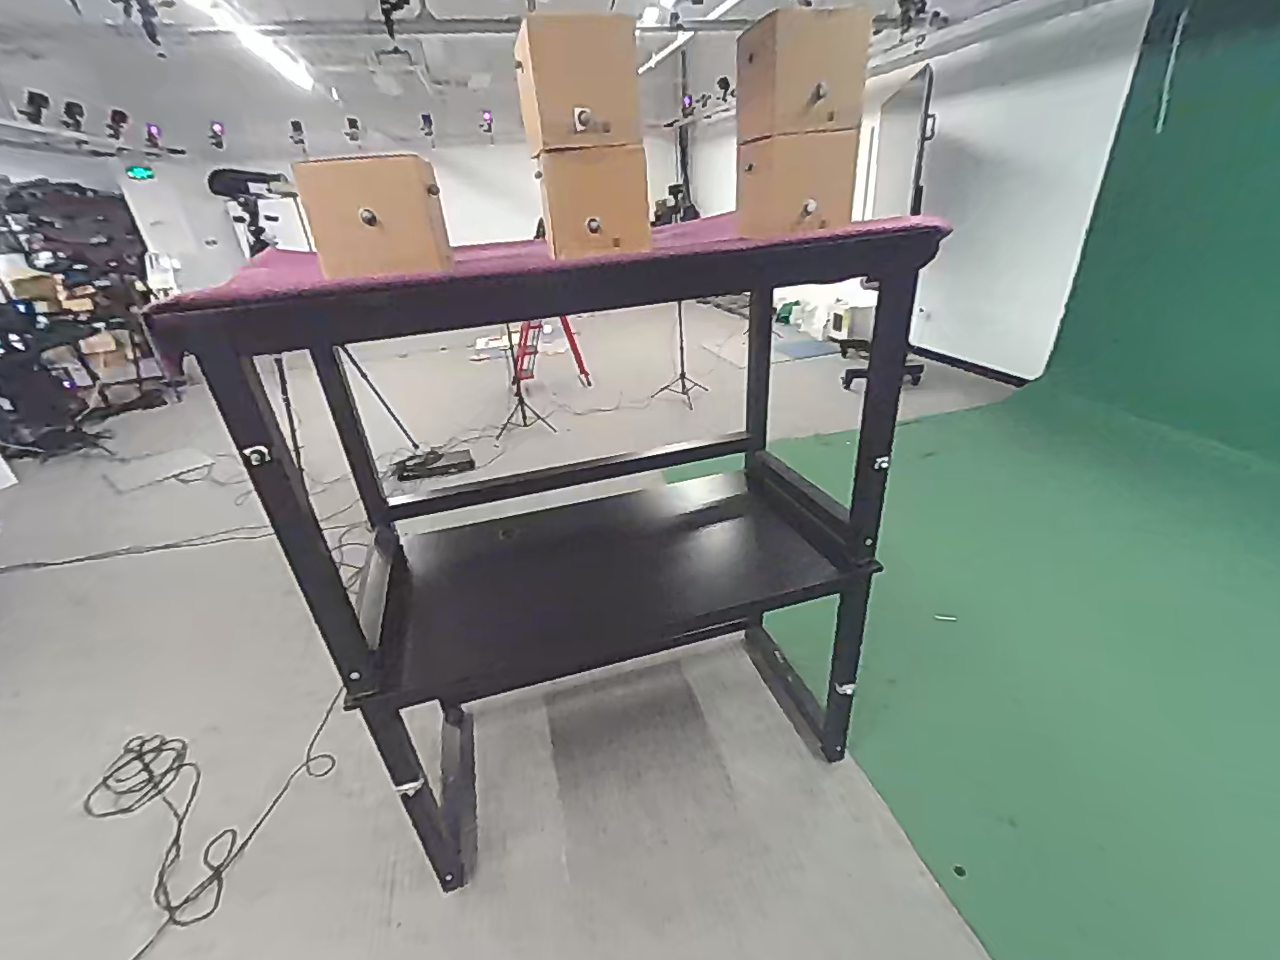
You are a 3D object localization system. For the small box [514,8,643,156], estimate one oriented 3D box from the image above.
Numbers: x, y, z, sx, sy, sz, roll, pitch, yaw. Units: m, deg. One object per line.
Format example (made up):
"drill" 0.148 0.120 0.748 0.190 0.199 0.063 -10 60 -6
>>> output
"small box" -0.101 -0.627 0.872 0.168 0.176 0.179 -13 30 -12

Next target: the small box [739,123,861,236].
"small box" 0.289 -0.561 1.022 0.168 0.176 0.179 -10 29 -7

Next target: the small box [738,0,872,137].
"small box" 0.276 -0.706 0.946 0.168 0.176 0.179 -10 29 -7

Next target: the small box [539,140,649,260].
"small box" -0.083 -0.487 0.951 0.168 0.176 0.179 -10 28 -8
